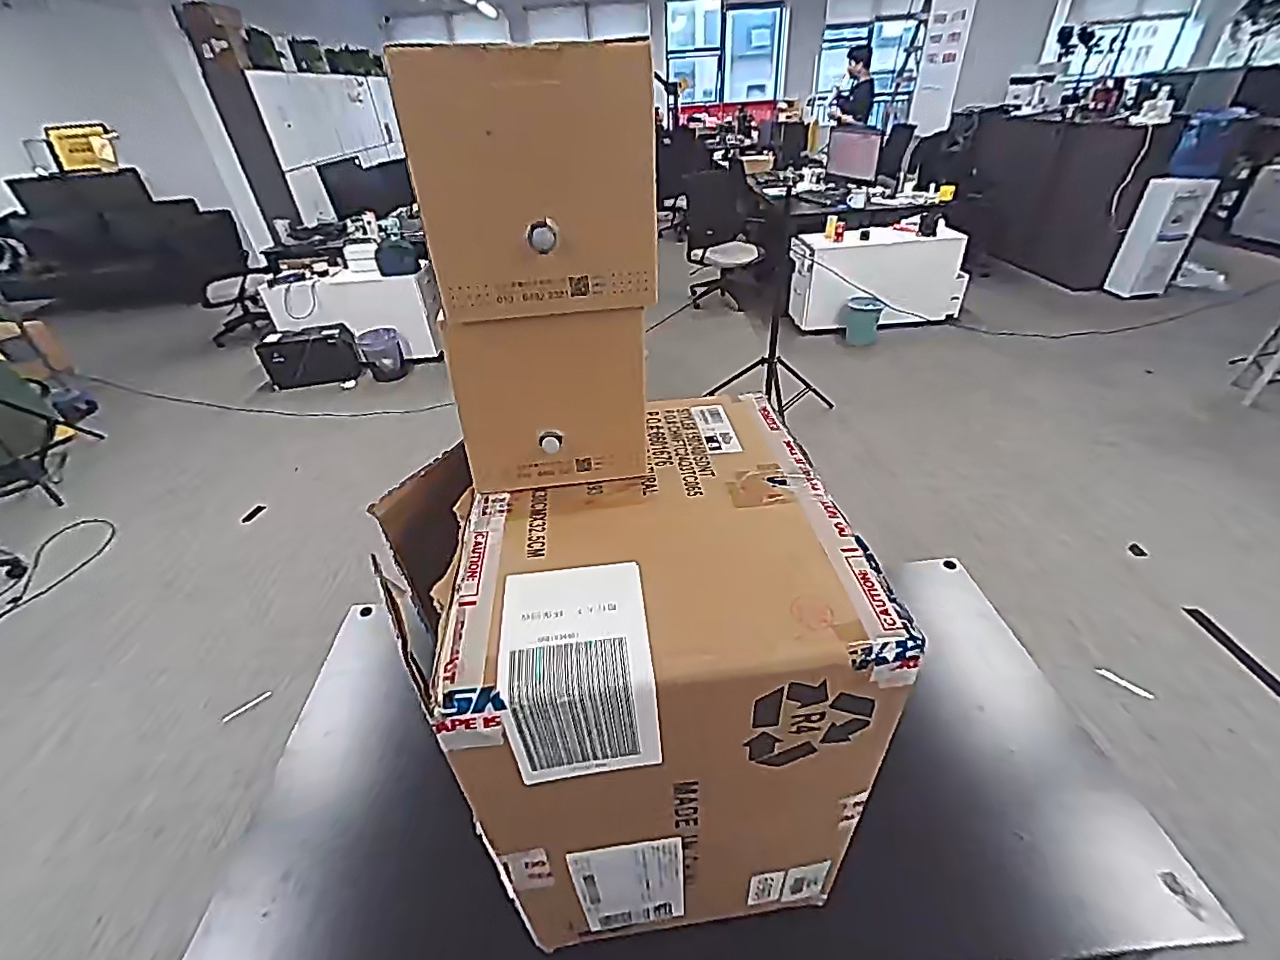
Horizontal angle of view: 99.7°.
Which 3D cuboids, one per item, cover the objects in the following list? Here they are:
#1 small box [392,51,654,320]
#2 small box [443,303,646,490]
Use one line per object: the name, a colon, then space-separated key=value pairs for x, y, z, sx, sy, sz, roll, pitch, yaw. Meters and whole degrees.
small box: x=-0.084 y=-0.242 z=0.452 sx=0.168 sy=0.176 sz=0.179 roll=-8 pitch=34 yaw=-7
small box: x=-0.087 y=-0.109 z=0.550 sx=0.168 sy=0.176 sz=0.179 roll=-6 pitch=35 yaw=-6
